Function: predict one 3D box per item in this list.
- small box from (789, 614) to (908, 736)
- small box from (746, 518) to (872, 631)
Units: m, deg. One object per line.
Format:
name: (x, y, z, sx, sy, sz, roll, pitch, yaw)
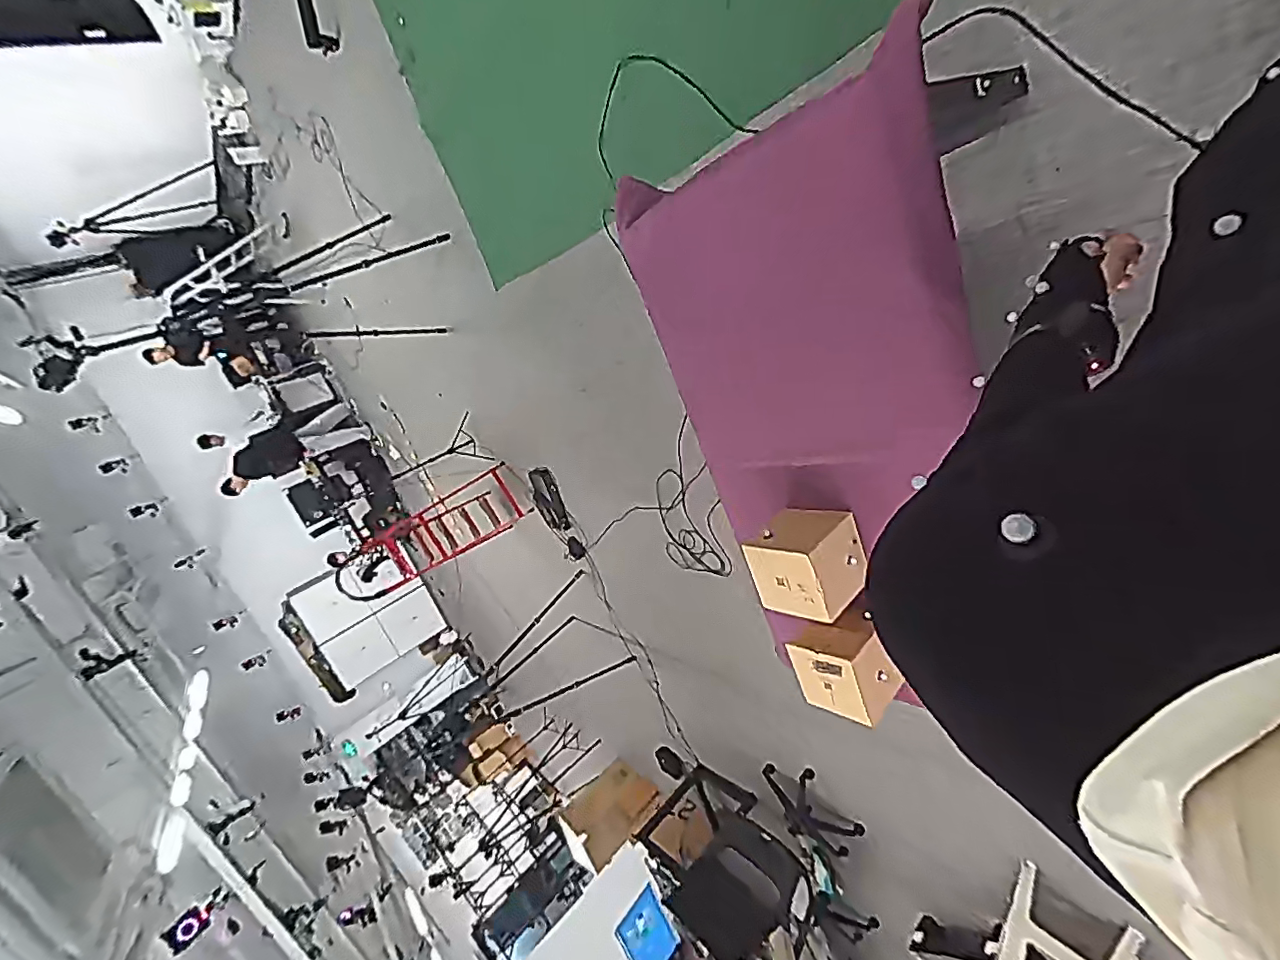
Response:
small box: (0.468, 0.420, 1.205, 0.168, 0.176, 0.179, -1, 116, 53)
small box: (0.363, 0.192, 1.157, 0.179, 0.176, 0.168, 0, 116, 52)
